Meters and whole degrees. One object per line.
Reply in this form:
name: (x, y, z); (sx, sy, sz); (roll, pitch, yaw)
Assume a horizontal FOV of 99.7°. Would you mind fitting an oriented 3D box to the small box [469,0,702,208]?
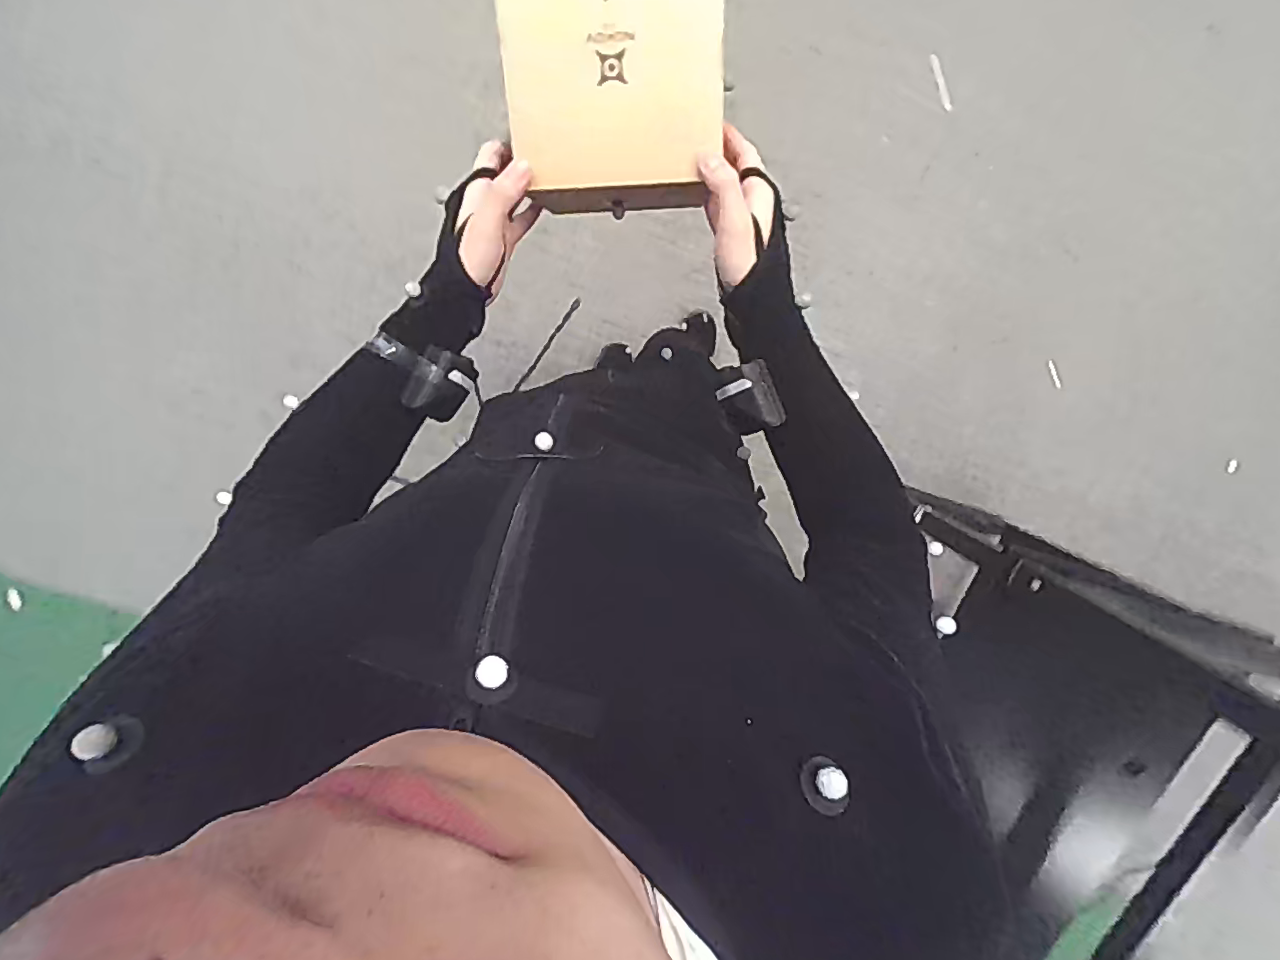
small box: (-0.037, -0.333, 0.459); (0.168, 0.176, 0.179); (-1, 110, 0)
